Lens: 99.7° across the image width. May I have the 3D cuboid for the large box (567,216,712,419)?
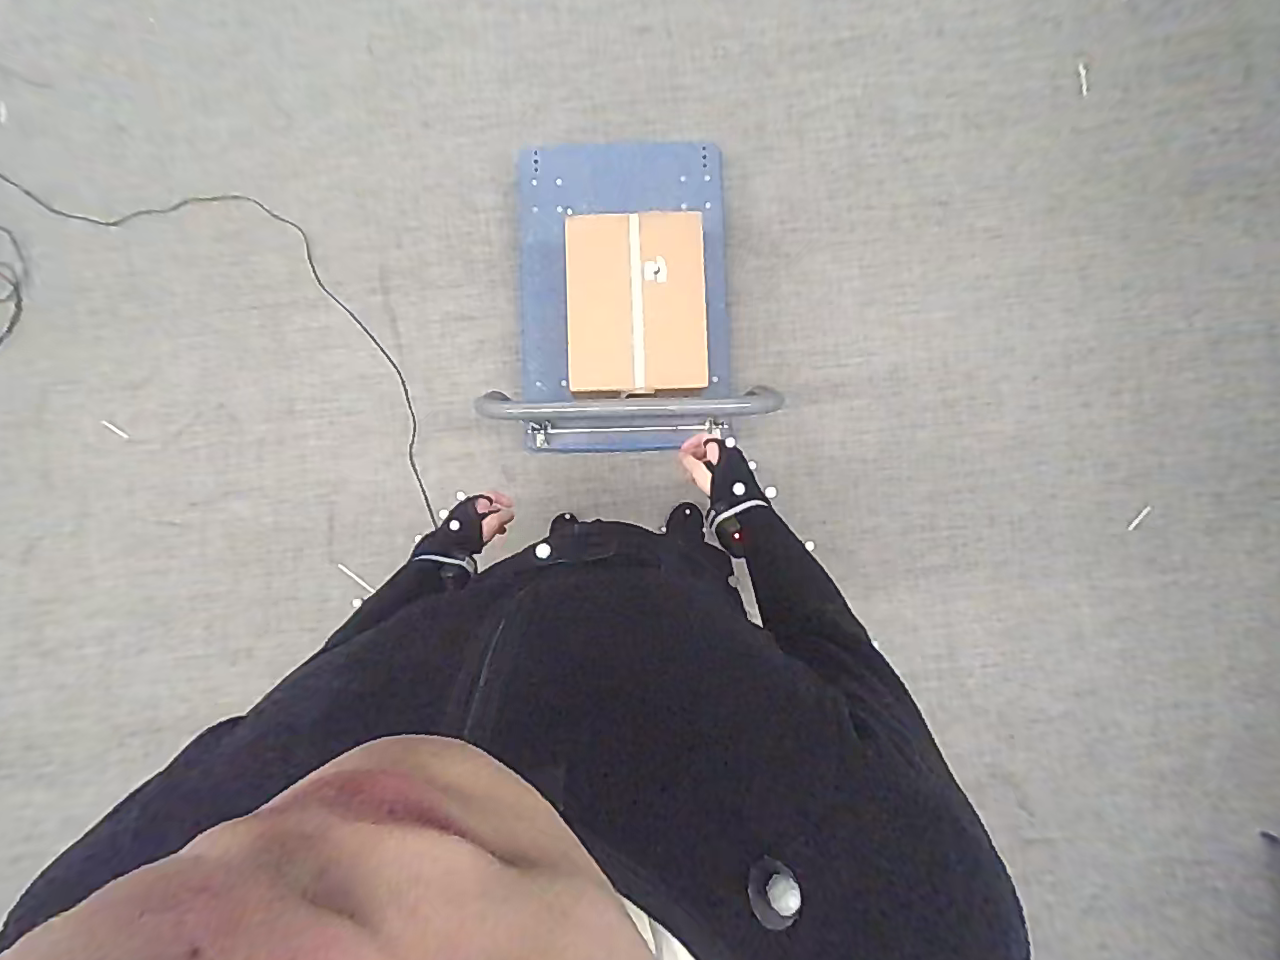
[{"bbox_3d":[-0.003,-0.380,1.349,0.320,0.320,0.408,-2,86,-1],"label":"large box"}]
